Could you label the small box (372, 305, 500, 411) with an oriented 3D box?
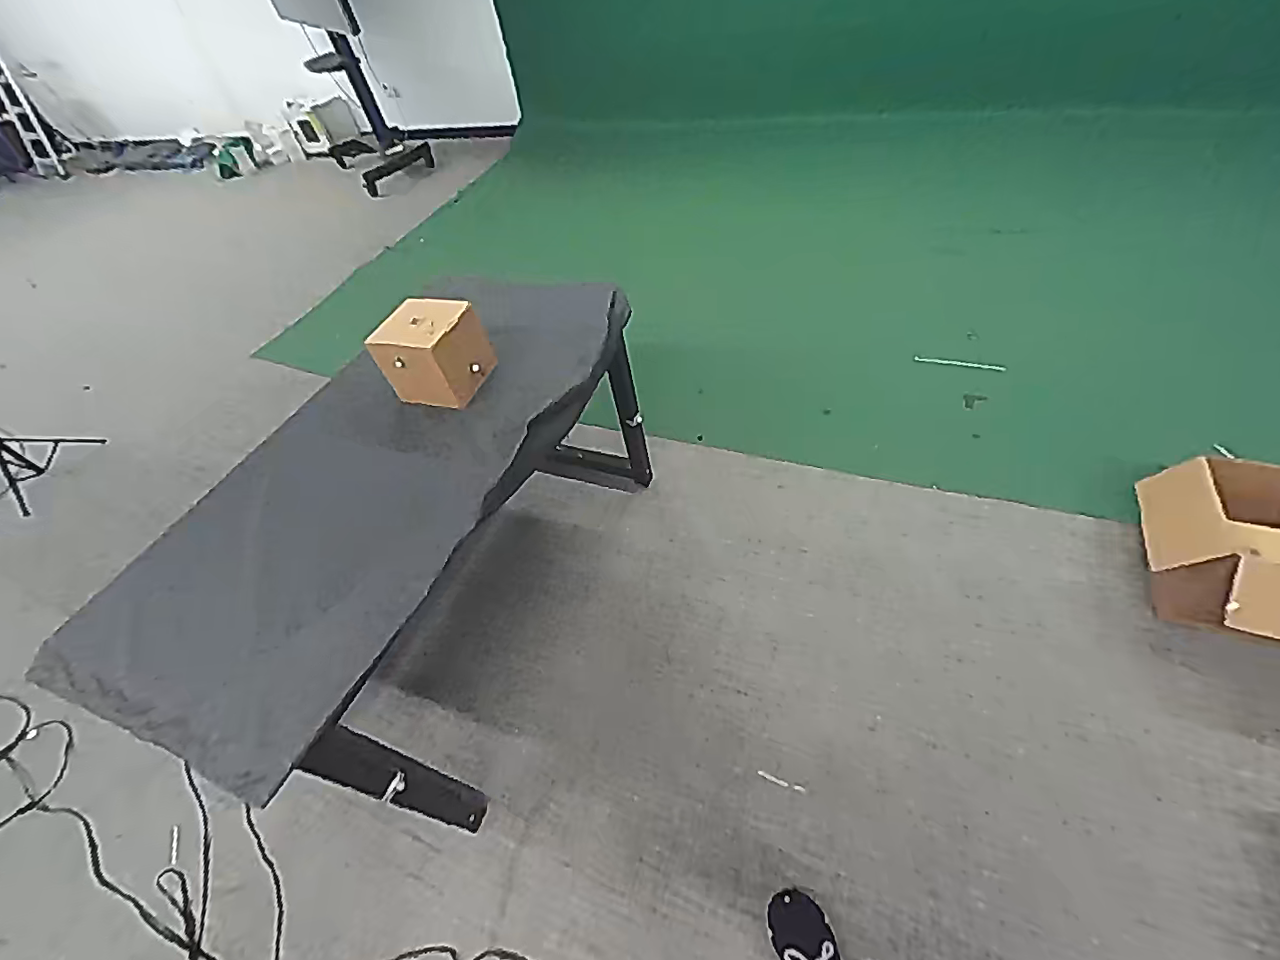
[{"bbox_3d":[-0.449,-0.273,1.218,0.179,0.176,0.168,10,53,19],"label":"small box"}]
